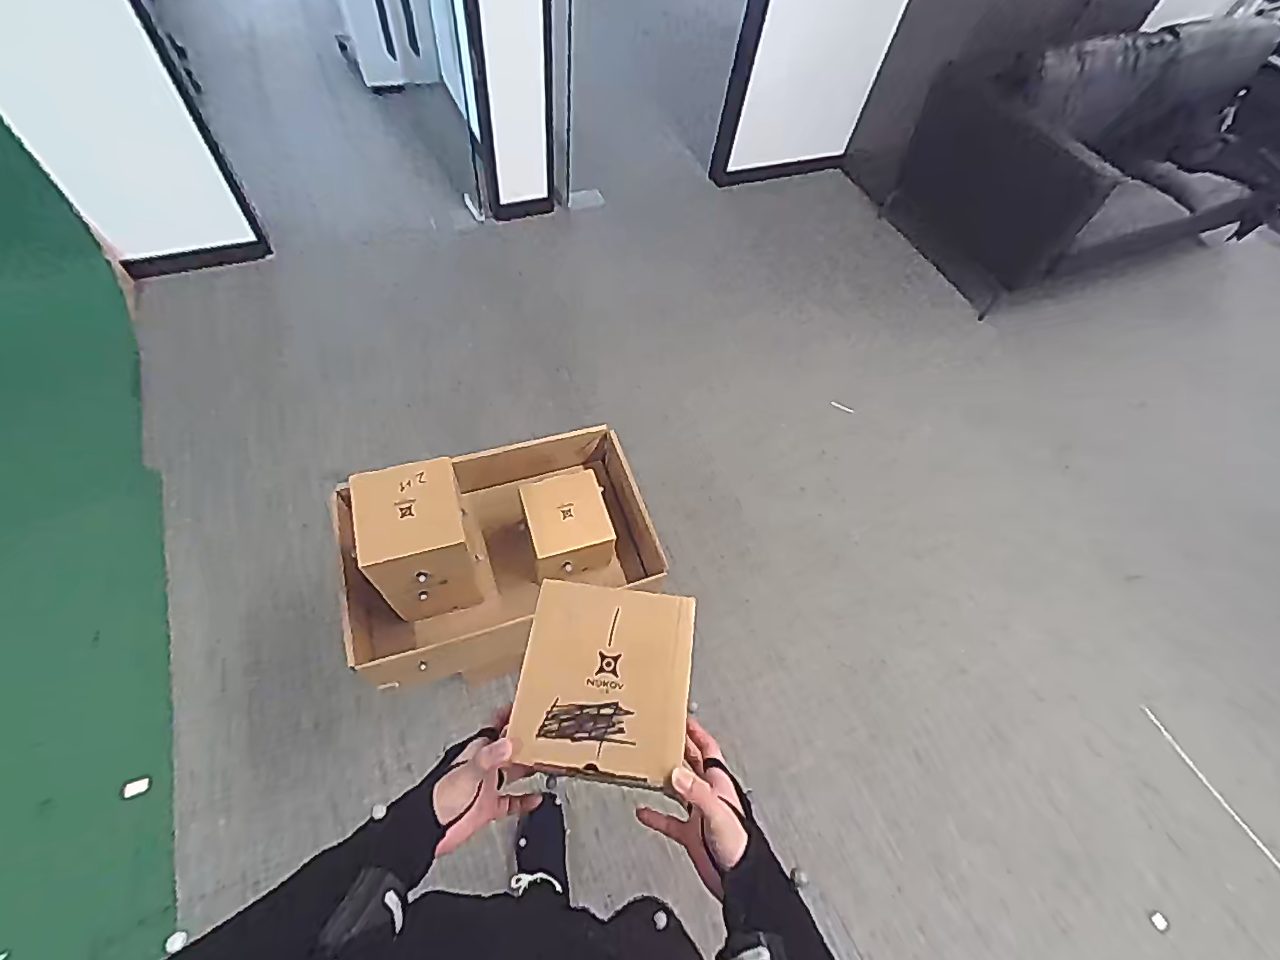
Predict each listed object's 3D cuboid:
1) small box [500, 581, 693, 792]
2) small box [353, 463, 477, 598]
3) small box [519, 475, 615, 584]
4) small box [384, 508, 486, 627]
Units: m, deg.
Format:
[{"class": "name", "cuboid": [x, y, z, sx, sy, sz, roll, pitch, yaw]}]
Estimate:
[{"class": "small box", "cuboid": [-0.036, 0.233, 0.595, 0.168, 0.176, 0.179, 7, 57, 3]}, {"class": "small box", "cuboid": [-0.397, 0.099, 0.971, 0.168, 0.176, 0.179, -12, 61, -16]}, {"class": "small box", "cuboid": [-0.160, 0.119, 1.187, 0.168, 0.176, 0.179, -14, 61, -15]}, {"class": "small box", "cuboid": [-0.421, 0.178, 1.112, 0.168, 0.176, 0.179, -12, 61, -14]}]
